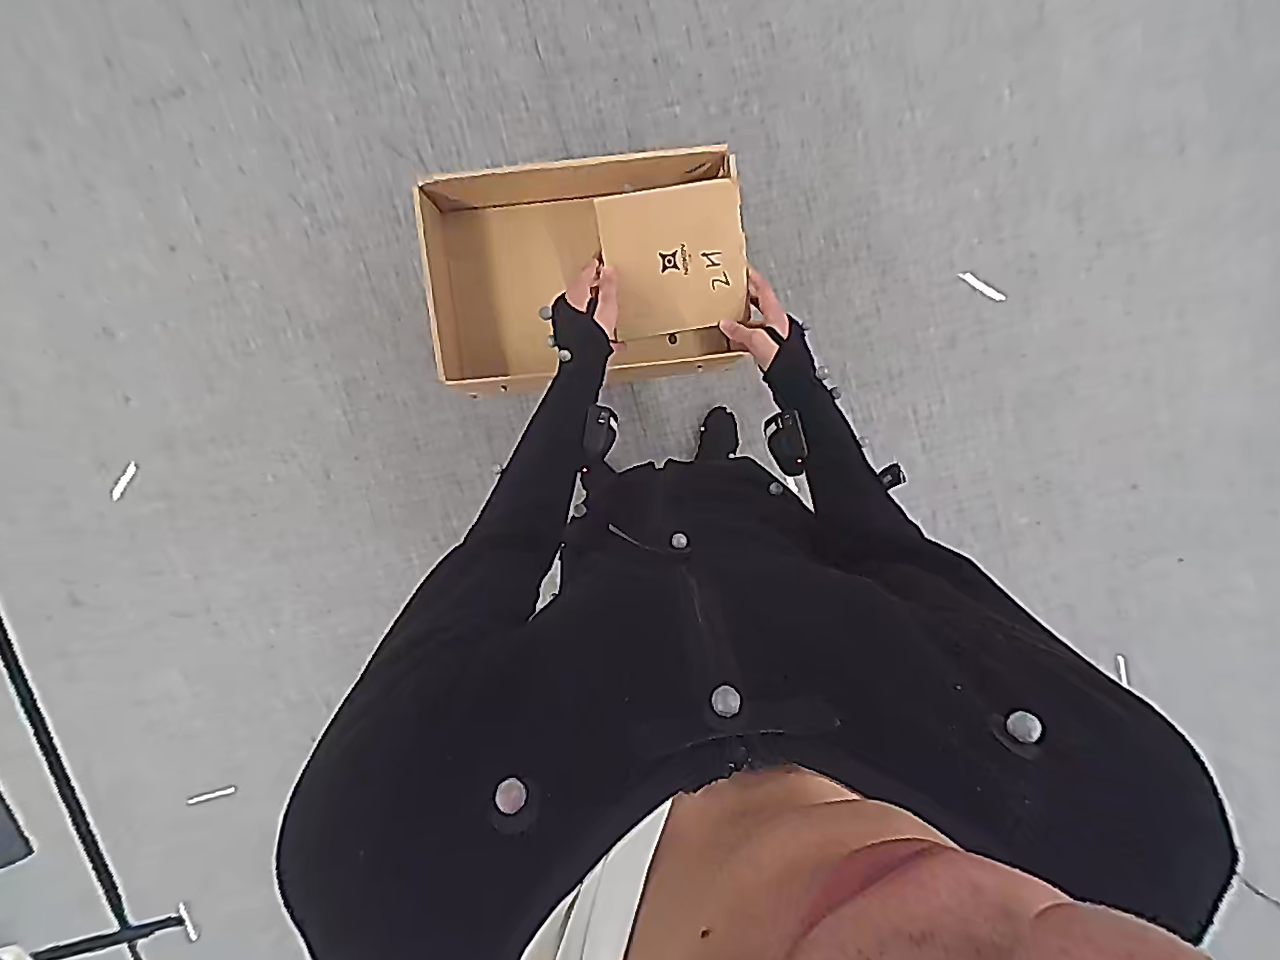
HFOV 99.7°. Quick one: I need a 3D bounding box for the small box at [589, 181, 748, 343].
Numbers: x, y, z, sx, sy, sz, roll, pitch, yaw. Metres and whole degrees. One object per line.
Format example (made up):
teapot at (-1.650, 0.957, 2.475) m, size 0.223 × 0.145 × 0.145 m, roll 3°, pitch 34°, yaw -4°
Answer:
small box at (0.031, -0.277, 0.721) m, size 0.179 × 0.176 × 0.168 m, roll -10°, pitch 106°, yaw -3°
